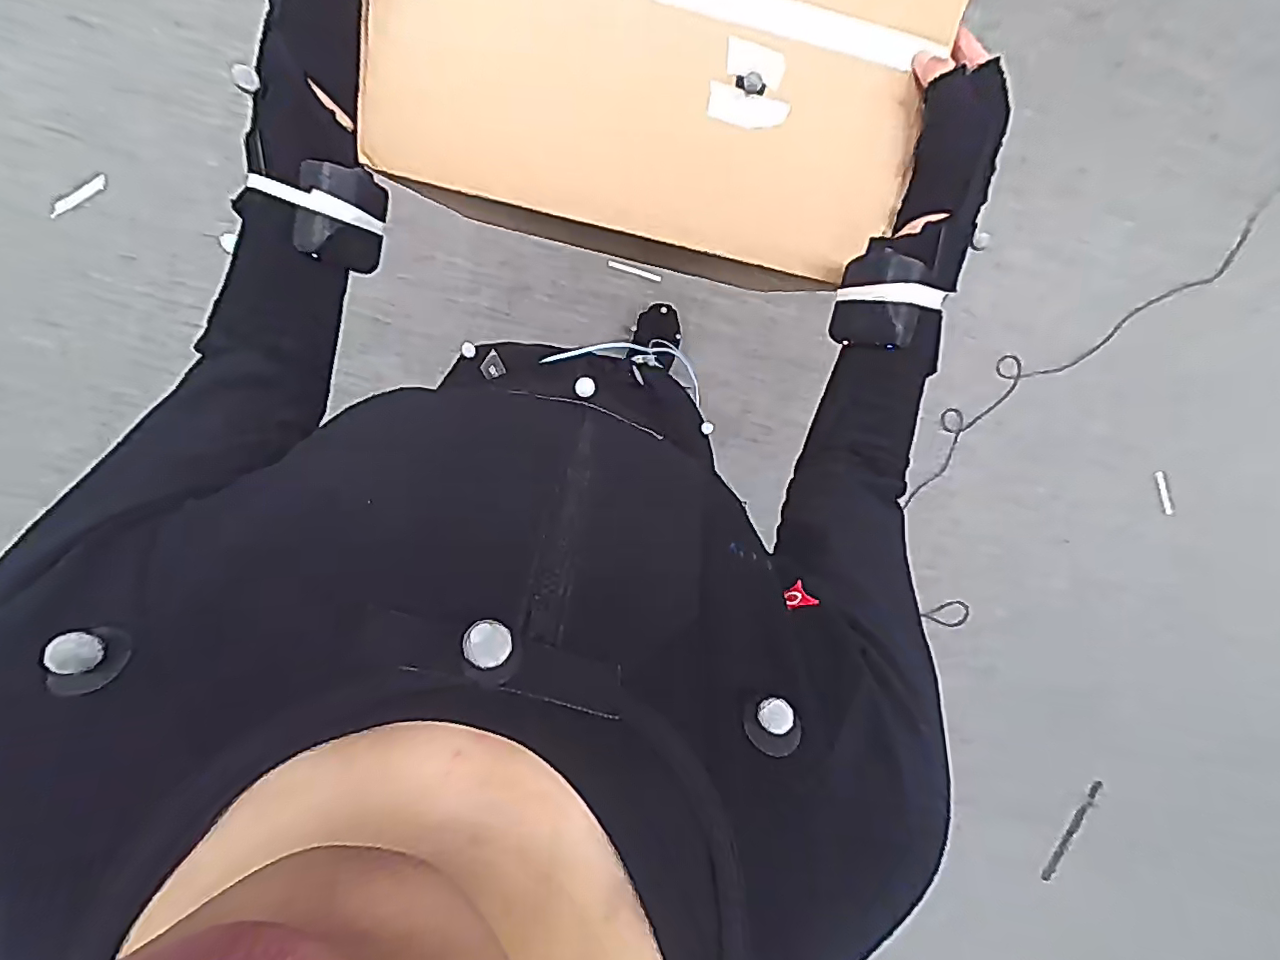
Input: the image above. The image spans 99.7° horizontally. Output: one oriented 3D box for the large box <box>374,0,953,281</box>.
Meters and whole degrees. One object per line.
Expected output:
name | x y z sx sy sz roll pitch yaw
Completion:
large box | 0.013 -0.392 0.519 0.408 0.320 0.320 10 109 -8
